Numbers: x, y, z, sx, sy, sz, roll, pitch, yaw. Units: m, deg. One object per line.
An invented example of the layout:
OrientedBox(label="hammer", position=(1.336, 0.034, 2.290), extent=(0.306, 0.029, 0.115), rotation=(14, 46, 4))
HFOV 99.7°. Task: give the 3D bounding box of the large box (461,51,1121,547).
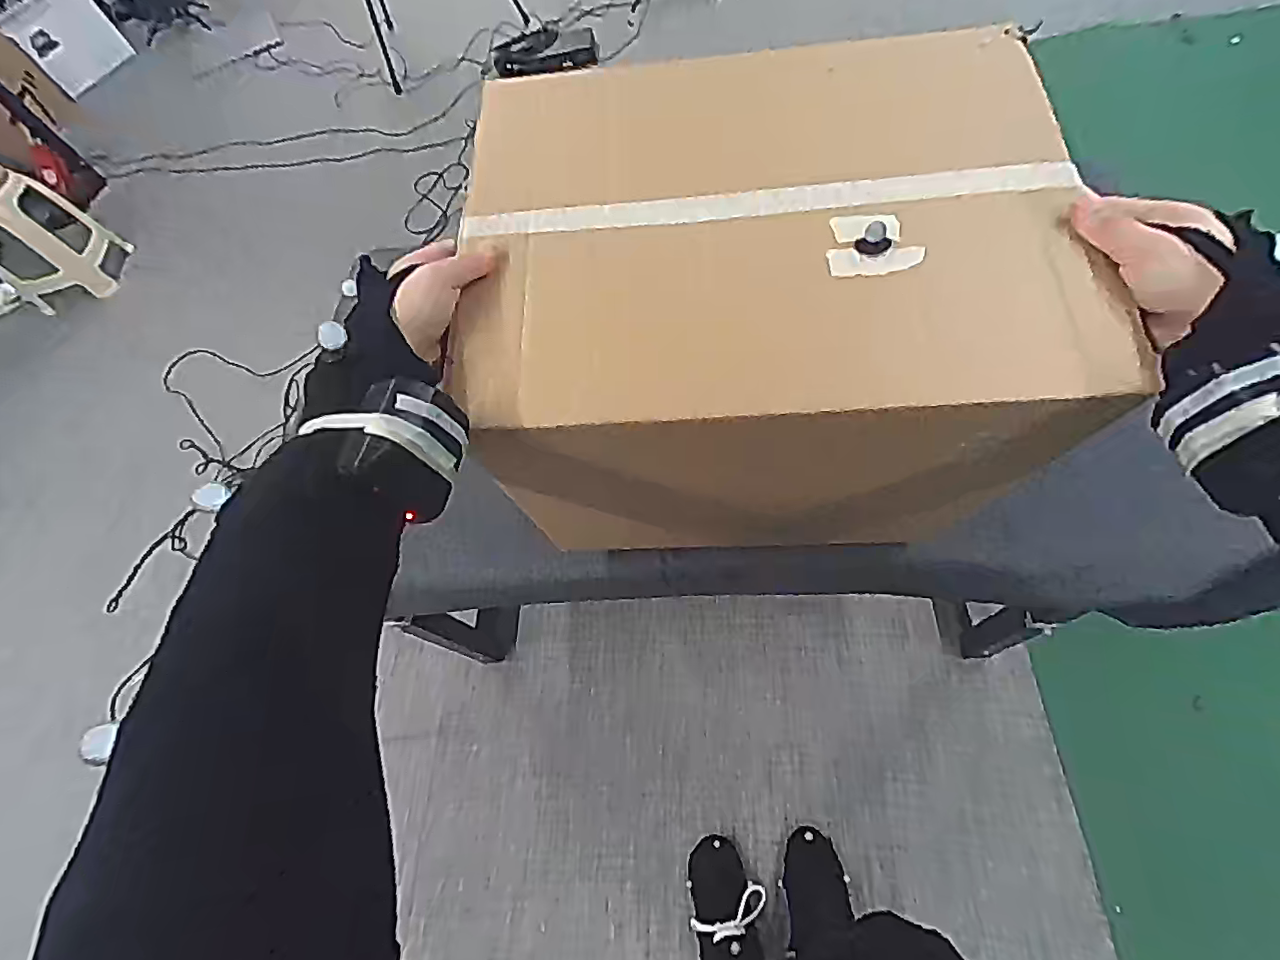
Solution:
OrientedBox(label="large box", position=(0.090, -0.130, 0.517), extent=(0.408, 0.320, 0.320), rotation=(-3, 69, 4))
